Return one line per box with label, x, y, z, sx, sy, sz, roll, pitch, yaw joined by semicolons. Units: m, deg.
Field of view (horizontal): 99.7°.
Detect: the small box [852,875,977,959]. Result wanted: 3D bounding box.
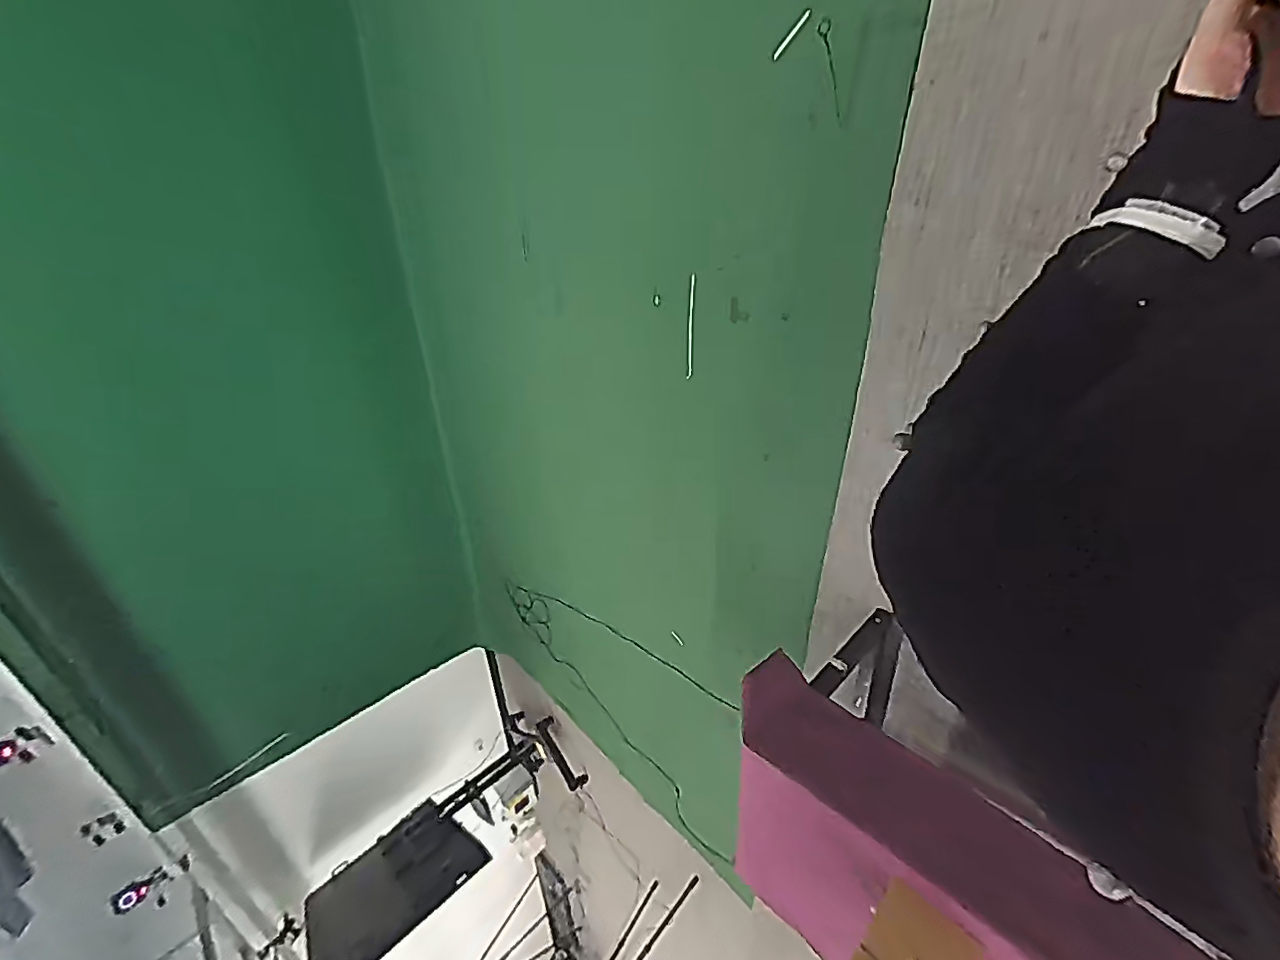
small box;0.536;0.952;1.075;0.179;0.176;0.168;26;129;41
